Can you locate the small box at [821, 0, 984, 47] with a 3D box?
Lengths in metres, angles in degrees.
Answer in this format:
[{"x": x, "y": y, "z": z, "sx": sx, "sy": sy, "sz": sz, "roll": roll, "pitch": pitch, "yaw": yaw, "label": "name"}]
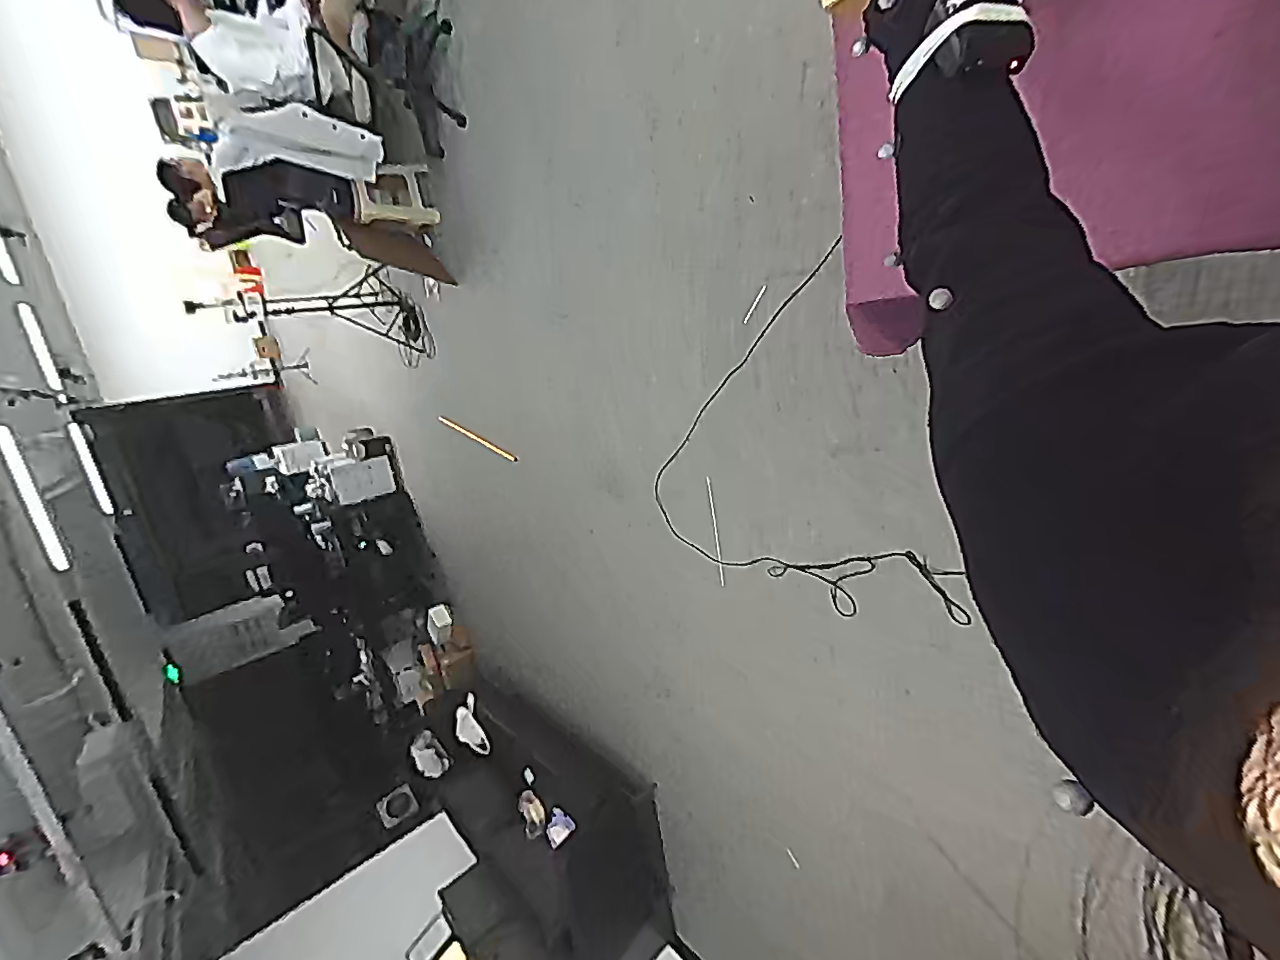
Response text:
[{"x": 0.293, "y": -0.596, "z": 0.552, "sx": 0.168, "sy": 0.176, "sz": 0.179, "roll": 0, "pitch": 106, "yaw": 51, "label": "small box"}]
